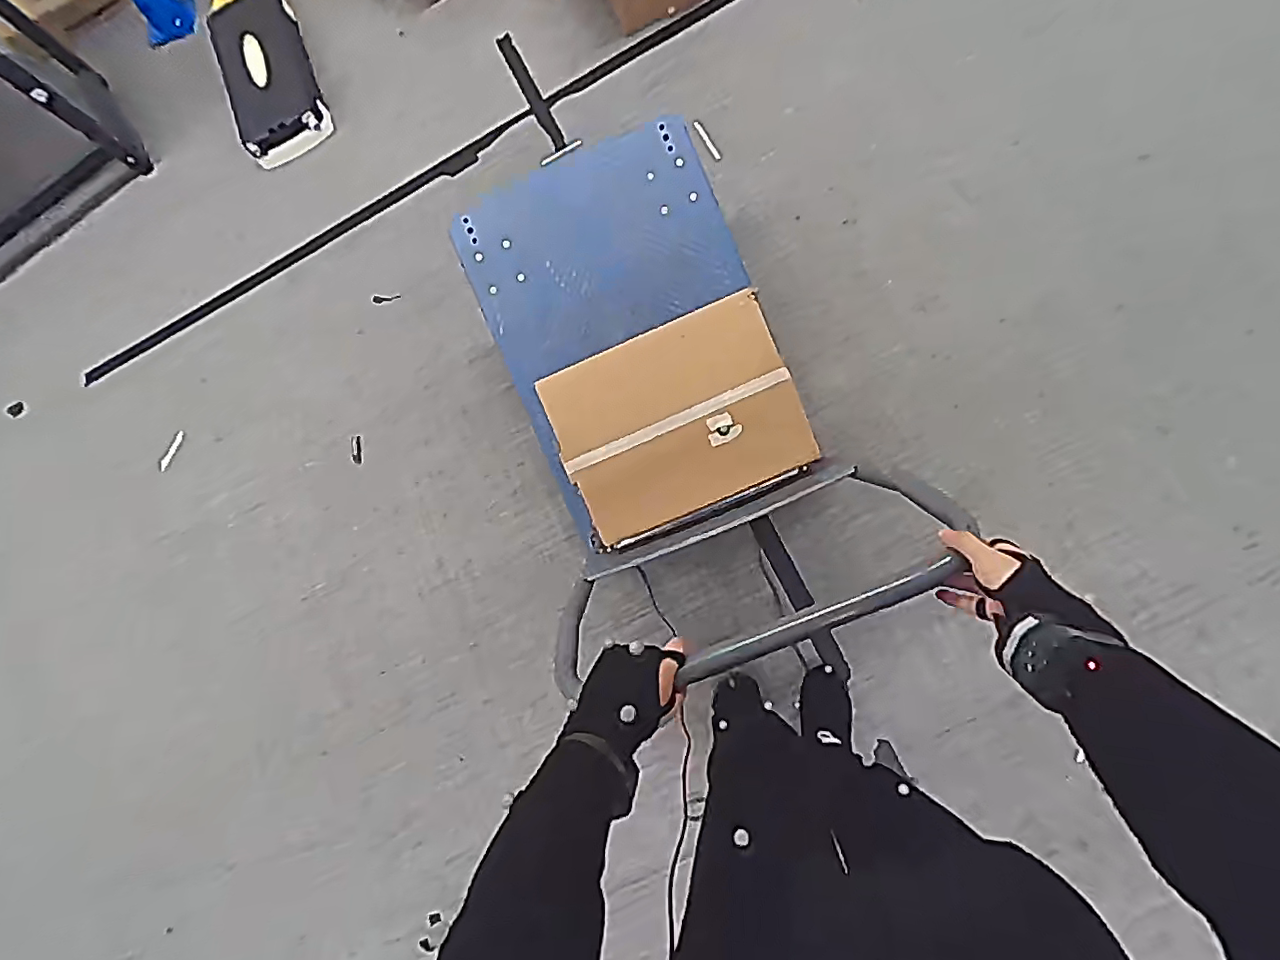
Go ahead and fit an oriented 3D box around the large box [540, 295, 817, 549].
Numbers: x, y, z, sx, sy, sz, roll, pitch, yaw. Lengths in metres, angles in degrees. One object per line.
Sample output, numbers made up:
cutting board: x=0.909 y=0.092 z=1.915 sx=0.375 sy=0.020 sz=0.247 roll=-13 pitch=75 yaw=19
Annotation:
large box: x=0.069 y=-0.103 z=1.079 sx=0.408 sy=0.320 sz=0.320 roll=-24 pitch=93 yaw=3
